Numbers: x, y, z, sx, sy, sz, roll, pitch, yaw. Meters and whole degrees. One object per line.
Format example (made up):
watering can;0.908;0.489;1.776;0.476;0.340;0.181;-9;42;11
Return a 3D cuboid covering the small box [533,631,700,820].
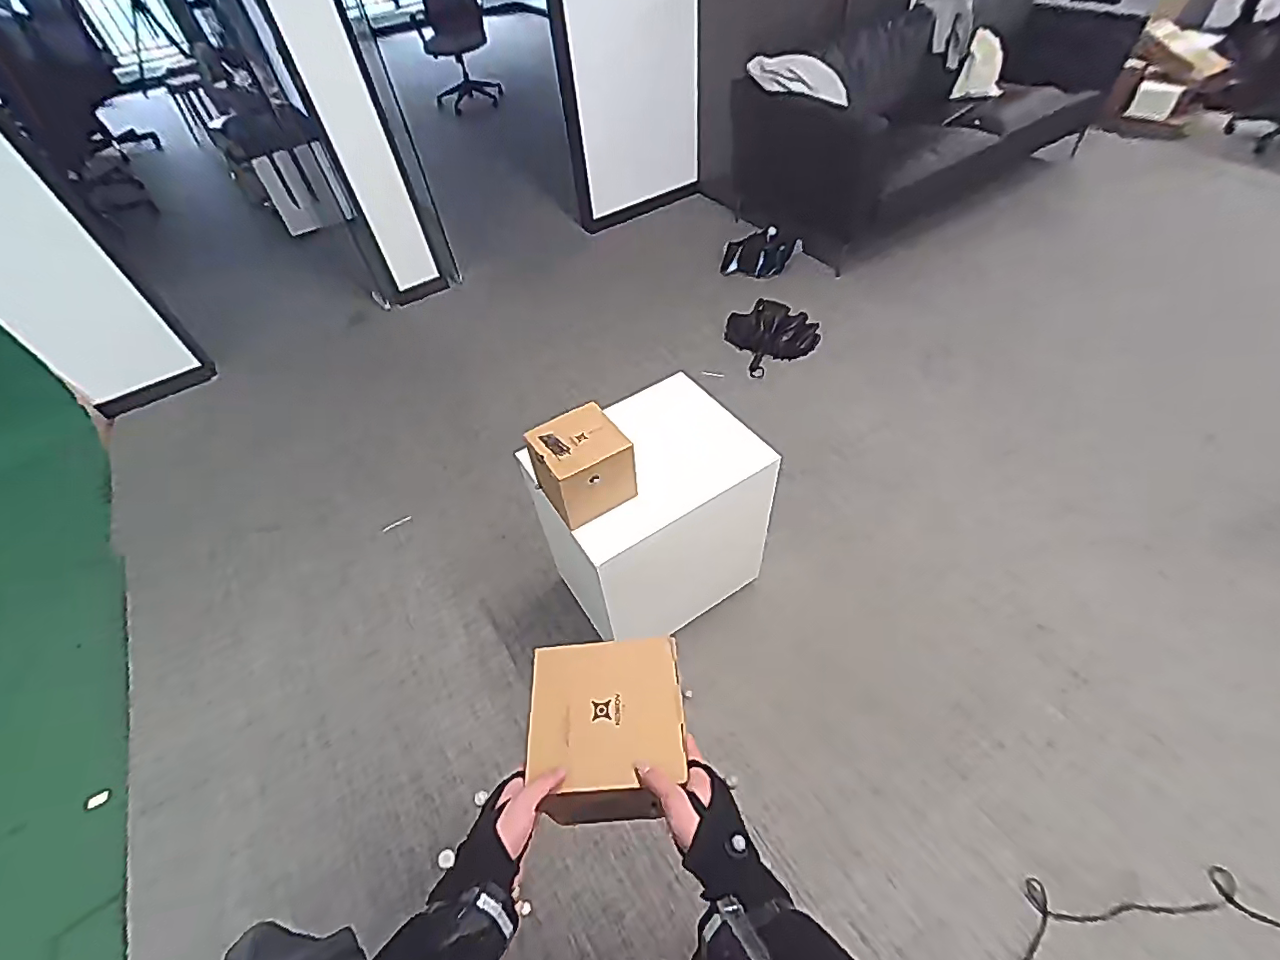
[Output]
small box;-0.022;0.305;0.667;0.179;0.176;0.168;-7;48;2

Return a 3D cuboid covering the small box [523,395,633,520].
small box;-0.126;-0.045;1.161;0.179;0.176;0.168;-28;55;-20
